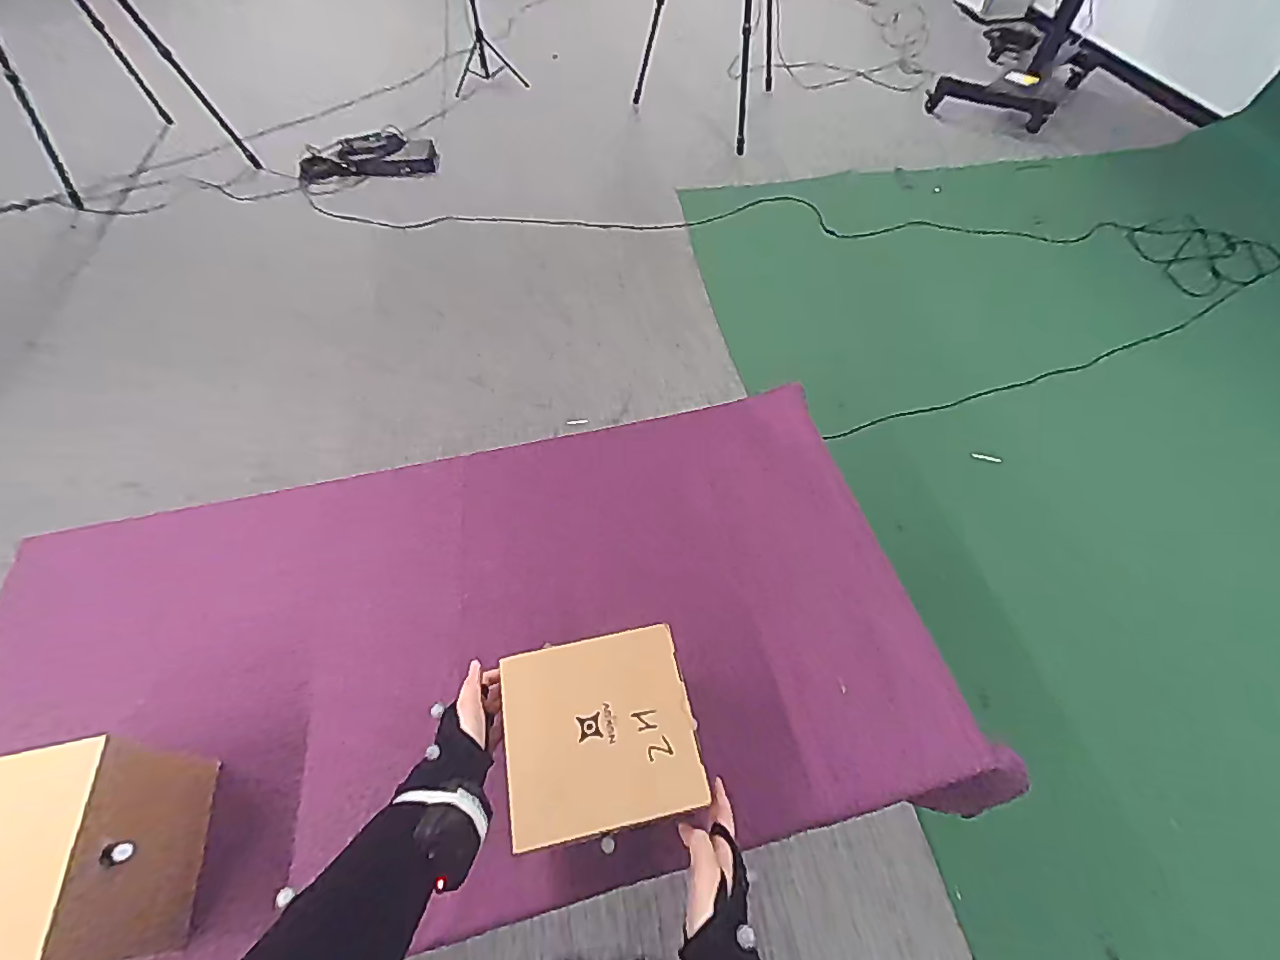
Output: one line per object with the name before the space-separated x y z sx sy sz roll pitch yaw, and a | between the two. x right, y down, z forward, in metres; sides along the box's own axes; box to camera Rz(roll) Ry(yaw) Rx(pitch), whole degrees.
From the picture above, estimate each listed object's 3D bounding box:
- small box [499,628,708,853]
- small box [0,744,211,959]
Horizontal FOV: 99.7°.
small box | -0.039 0.276 0.567 0.179 0.176 0.168 -10 57 -7
small box | -0.548 0.369 0.504 0.168 0.176 0.179 -10 58 -8
